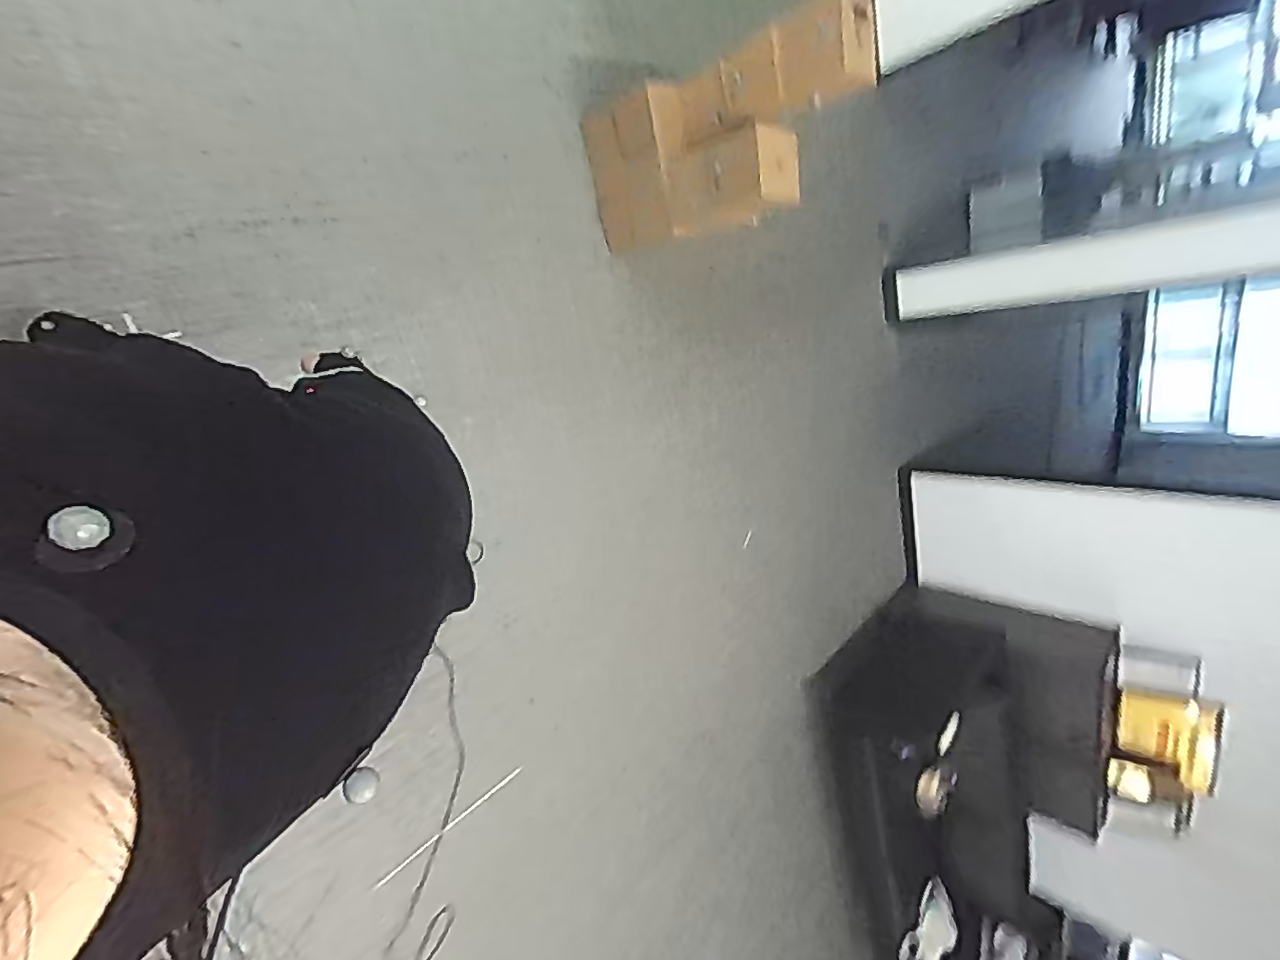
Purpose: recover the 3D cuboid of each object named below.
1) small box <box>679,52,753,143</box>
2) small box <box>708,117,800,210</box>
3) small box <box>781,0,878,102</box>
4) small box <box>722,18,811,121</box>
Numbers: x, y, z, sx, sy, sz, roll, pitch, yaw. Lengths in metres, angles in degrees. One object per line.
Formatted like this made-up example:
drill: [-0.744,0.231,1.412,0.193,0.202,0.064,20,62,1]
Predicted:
small box: [0.238,-1.094,1.563,0.168,0.176,0.179,-30,115,-37]
small box: [0.302,-0.829,1.435,0.179,0.176,0.168,-19,108,-39]
small box: [0.461,-1.069,1.325,0.168,0.176,0.179,-22,110,-38]
small box: [0.345,-1.081,1.441,0.179,0.176,0.168,-28,113,-36]
